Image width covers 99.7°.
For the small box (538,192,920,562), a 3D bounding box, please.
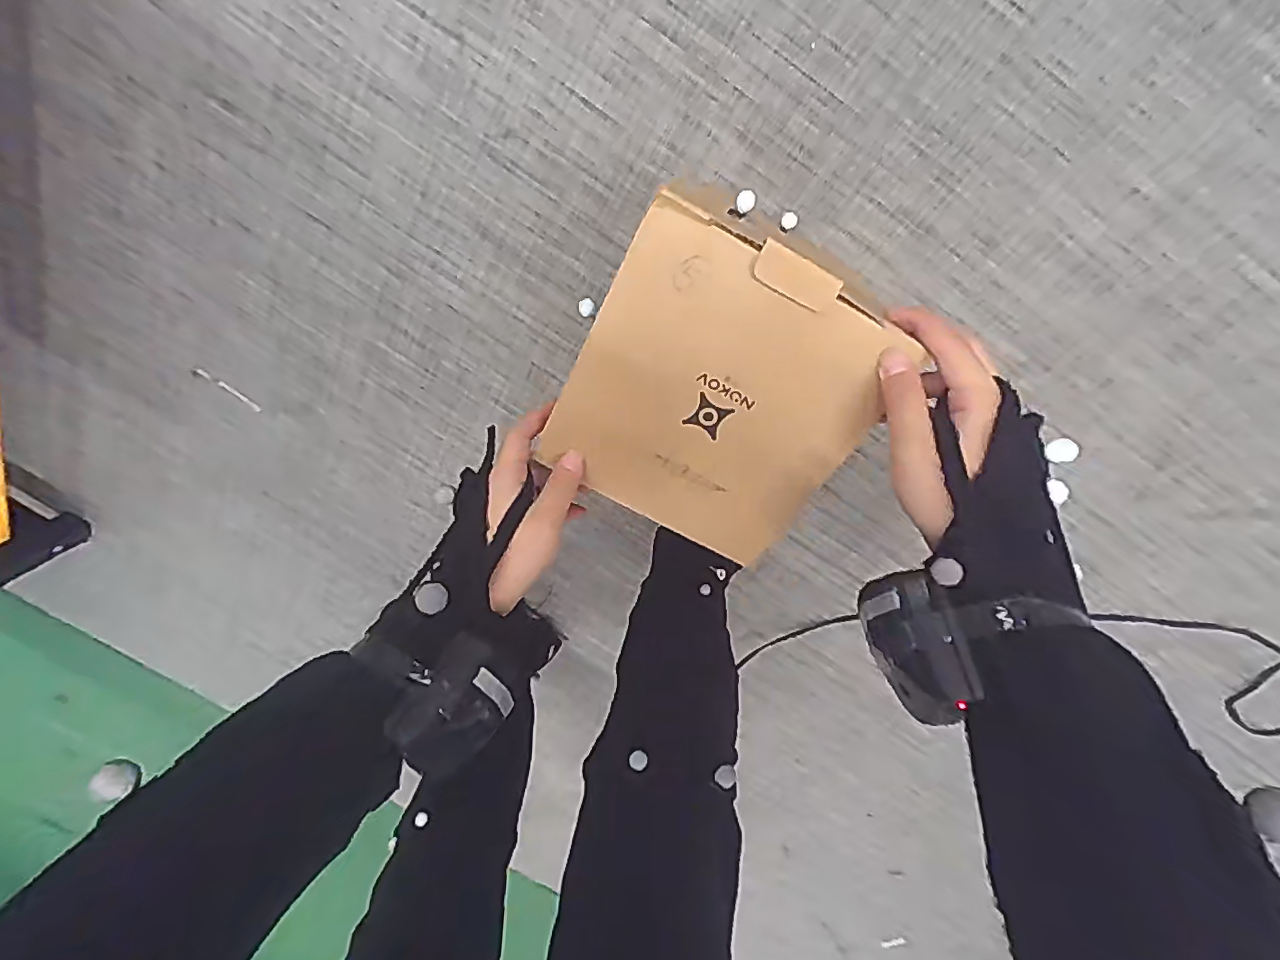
[{"bbox_3d":[0.052,-0.082,0.388,0.168,0.176,0.179,27,121,-8],"label":"small box"}]
